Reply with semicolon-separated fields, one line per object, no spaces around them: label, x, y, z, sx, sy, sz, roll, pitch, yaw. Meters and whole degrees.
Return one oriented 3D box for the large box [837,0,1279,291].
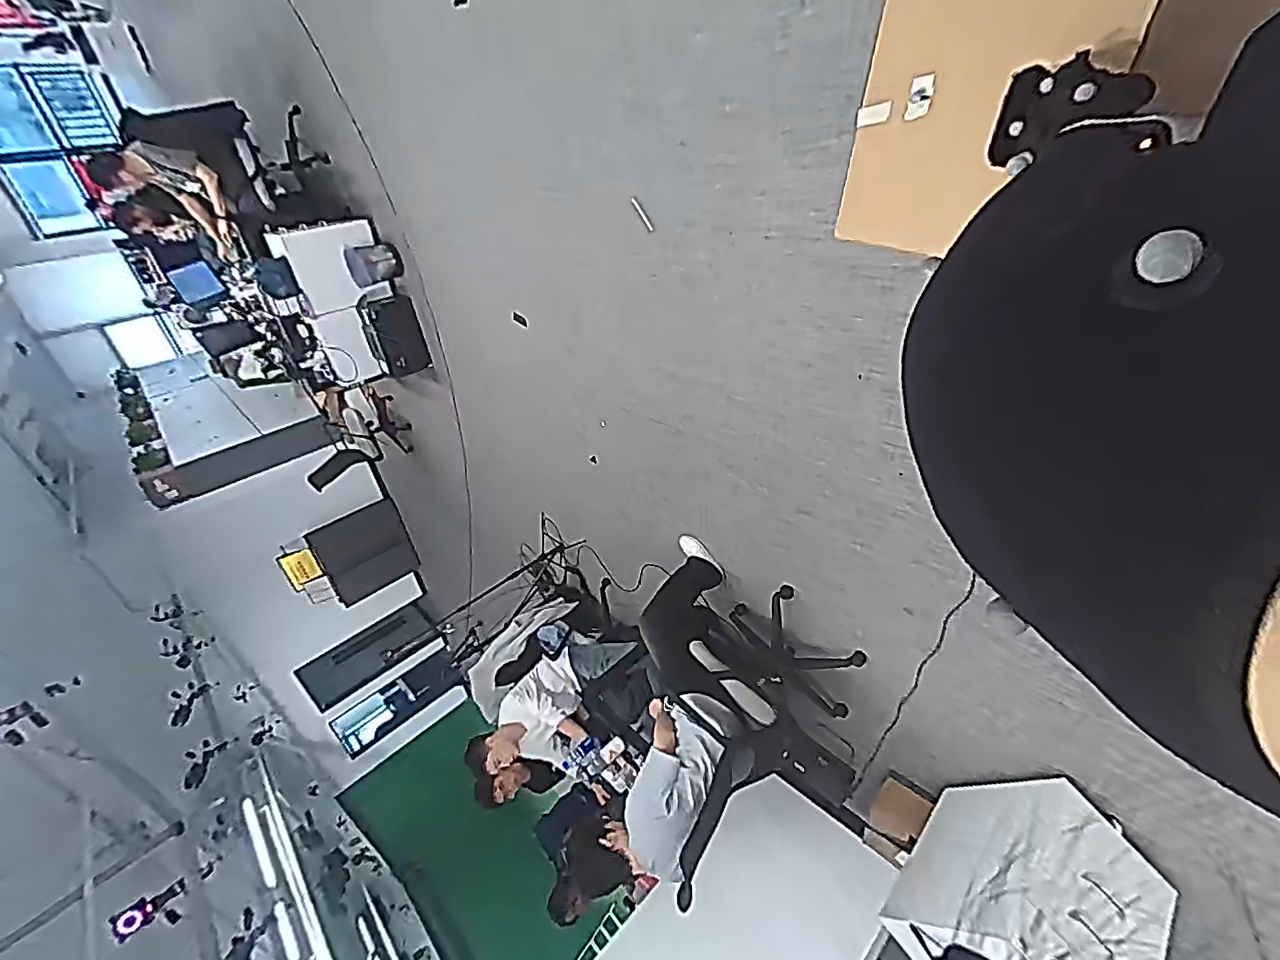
large box;0.554;-0.471;0.755;0.320;0.408;0.320;44;140;45
